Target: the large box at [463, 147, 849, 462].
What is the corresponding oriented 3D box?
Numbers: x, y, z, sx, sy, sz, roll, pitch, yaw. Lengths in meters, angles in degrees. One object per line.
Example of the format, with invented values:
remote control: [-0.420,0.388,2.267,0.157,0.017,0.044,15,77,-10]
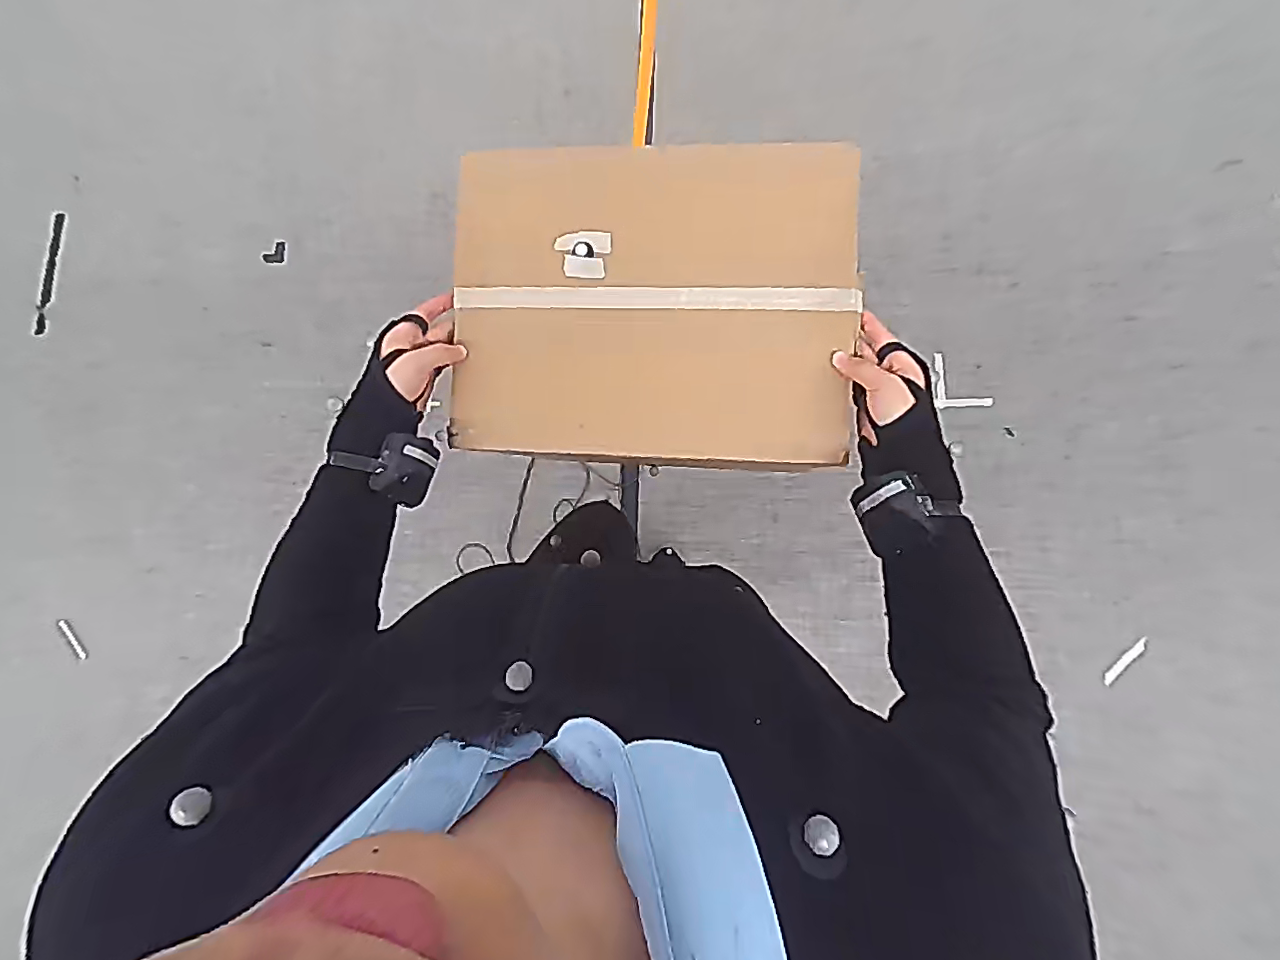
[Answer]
large box: [0.028,-0.181,0.705,0.408,0.320,0.320,2,89,6]
